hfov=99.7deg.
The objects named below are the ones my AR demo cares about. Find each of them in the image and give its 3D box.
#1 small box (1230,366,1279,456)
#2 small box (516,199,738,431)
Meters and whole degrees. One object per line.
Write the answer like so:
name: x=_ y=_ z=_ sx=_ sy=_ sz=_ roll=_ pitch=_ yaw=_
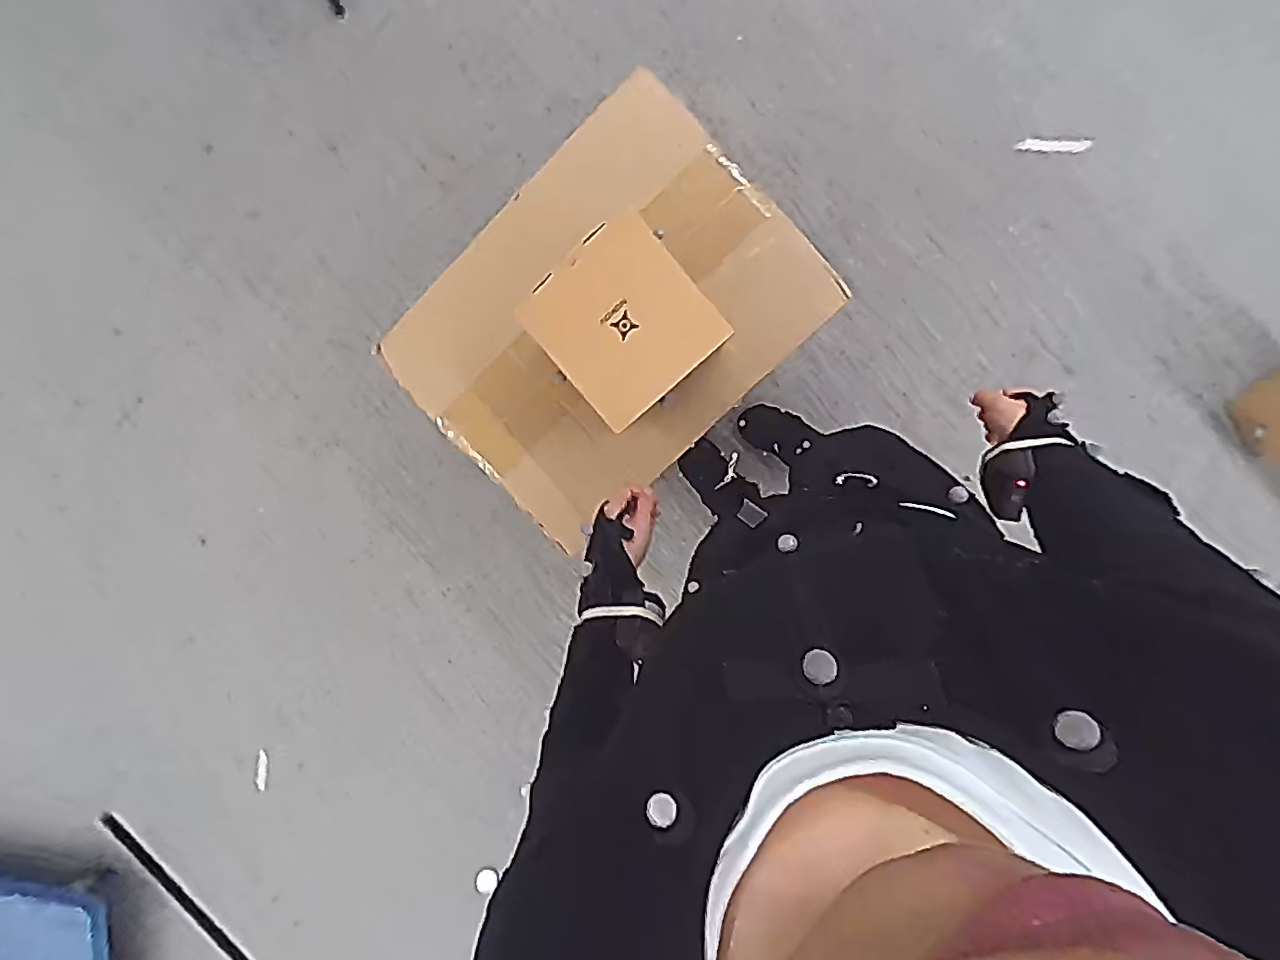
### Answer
small box: x=1.447 y=-0.160 z=1.148 sx=0.179 sy=0.176 sz=0.168 roll=-34 pitch=92 yaw=9
small box: x=-0.007 y=-0.178 z=0.632 sx=0.168 sy=0.176 sz=0.179 roll=-41 pitch=92 yaw=9
